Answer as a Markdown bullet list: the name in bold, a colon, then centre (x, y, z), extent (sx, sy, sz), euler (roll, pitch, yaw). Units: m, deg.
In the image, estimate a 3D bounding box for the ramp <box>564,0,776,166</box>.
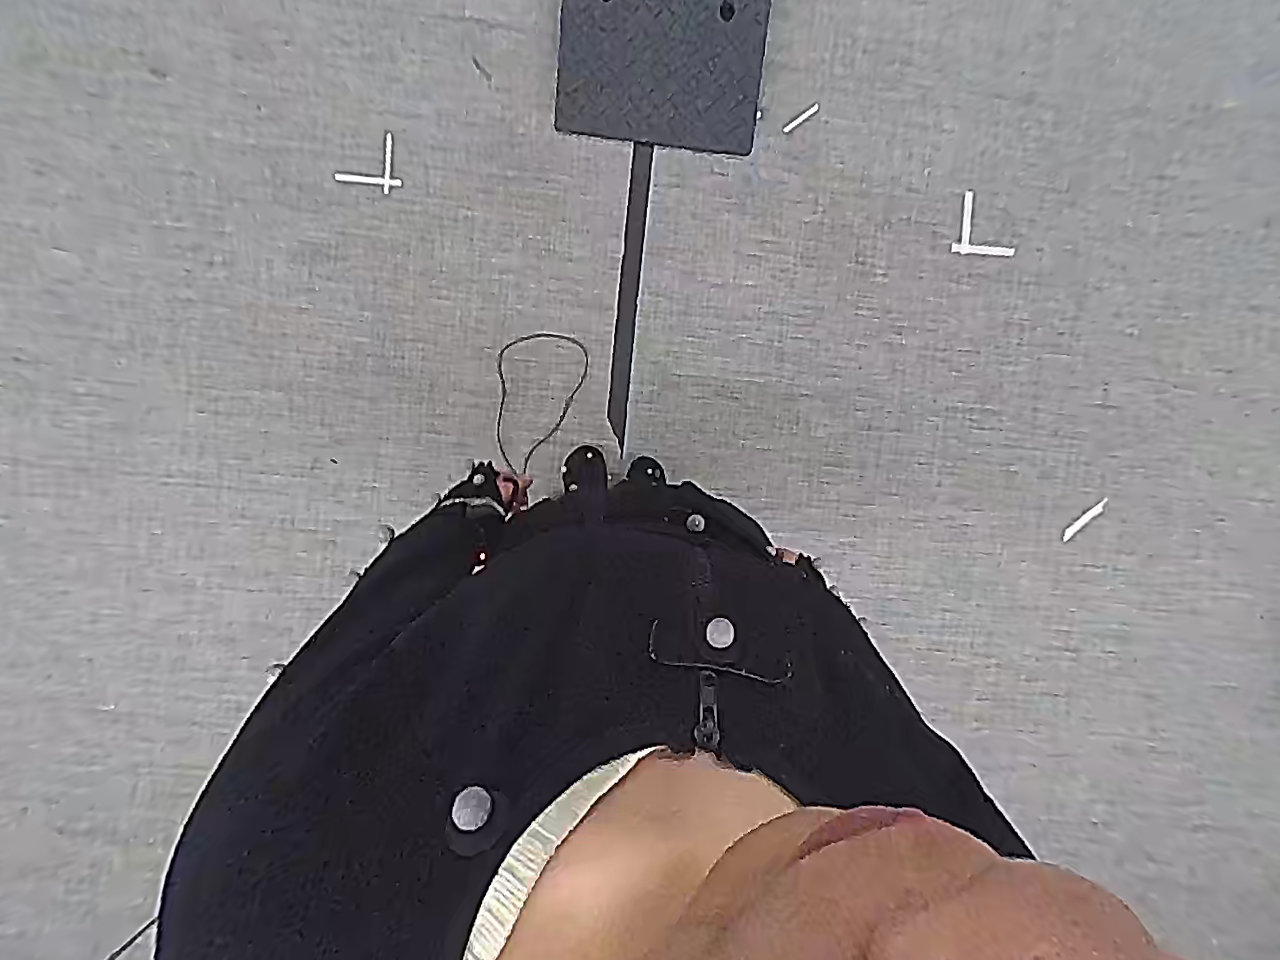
- **ramp**: centre (0.094, -1.292, 1.242), extent (0.509, 0.206, 0.991), euler (2, 93, -5)
